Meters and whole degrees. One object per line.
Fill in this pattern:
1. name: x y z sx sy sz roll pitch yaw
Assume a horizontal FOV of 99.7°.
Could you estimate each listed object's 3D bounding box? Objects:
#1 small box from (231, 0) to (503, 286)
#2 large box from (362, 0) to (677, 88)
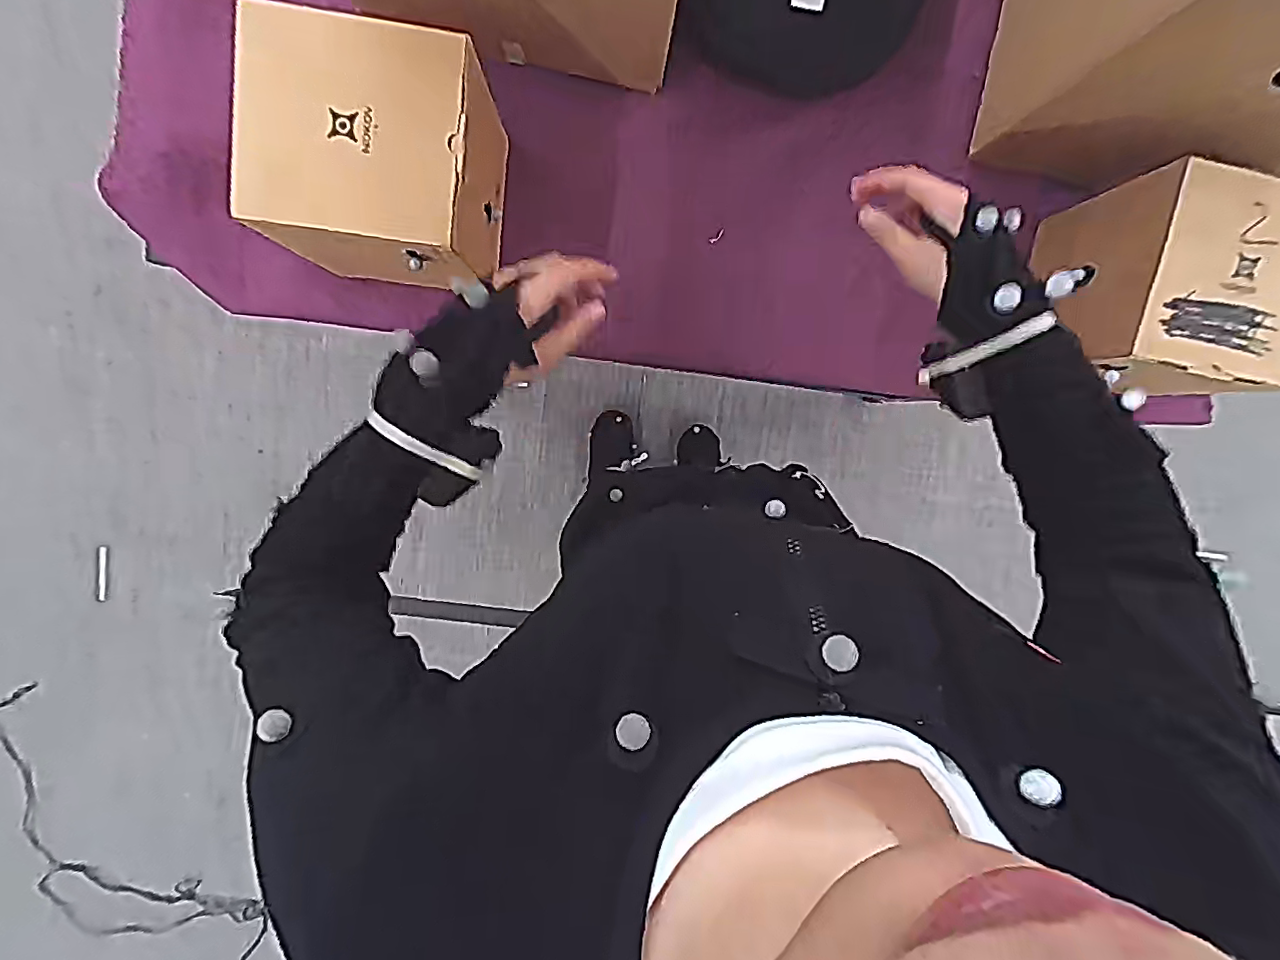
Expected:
1. small box: -0.239 -0.294 0.512 0.179 0.176 0.168 6 96 -5
2. large box: -0.089 -0.618 0.406 0.320 0.320 0.408 9 100 -4
